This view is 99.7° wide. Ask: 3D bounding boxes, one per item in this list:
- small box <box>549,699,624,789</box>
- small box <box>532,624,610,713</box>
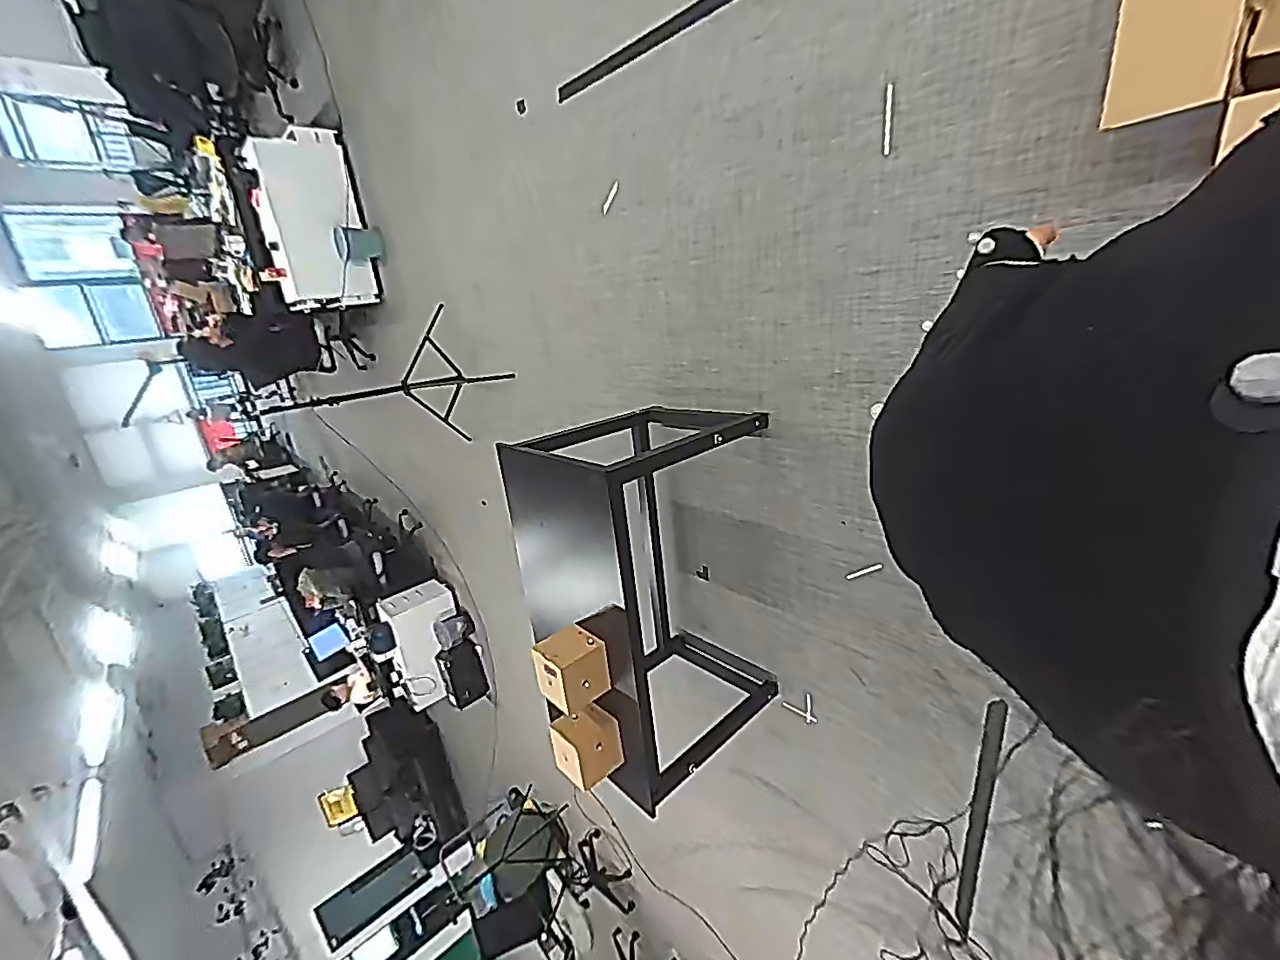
[{"bbox_3d":[-0.174,0.861,1.787,0.168,0.176,0.179,12,116,49],"label":"small box"},{"bbox_3d":[-0.212,0.582,1.699,0.168,0.176,0.179,16,119,47],"label":"small box"}]
